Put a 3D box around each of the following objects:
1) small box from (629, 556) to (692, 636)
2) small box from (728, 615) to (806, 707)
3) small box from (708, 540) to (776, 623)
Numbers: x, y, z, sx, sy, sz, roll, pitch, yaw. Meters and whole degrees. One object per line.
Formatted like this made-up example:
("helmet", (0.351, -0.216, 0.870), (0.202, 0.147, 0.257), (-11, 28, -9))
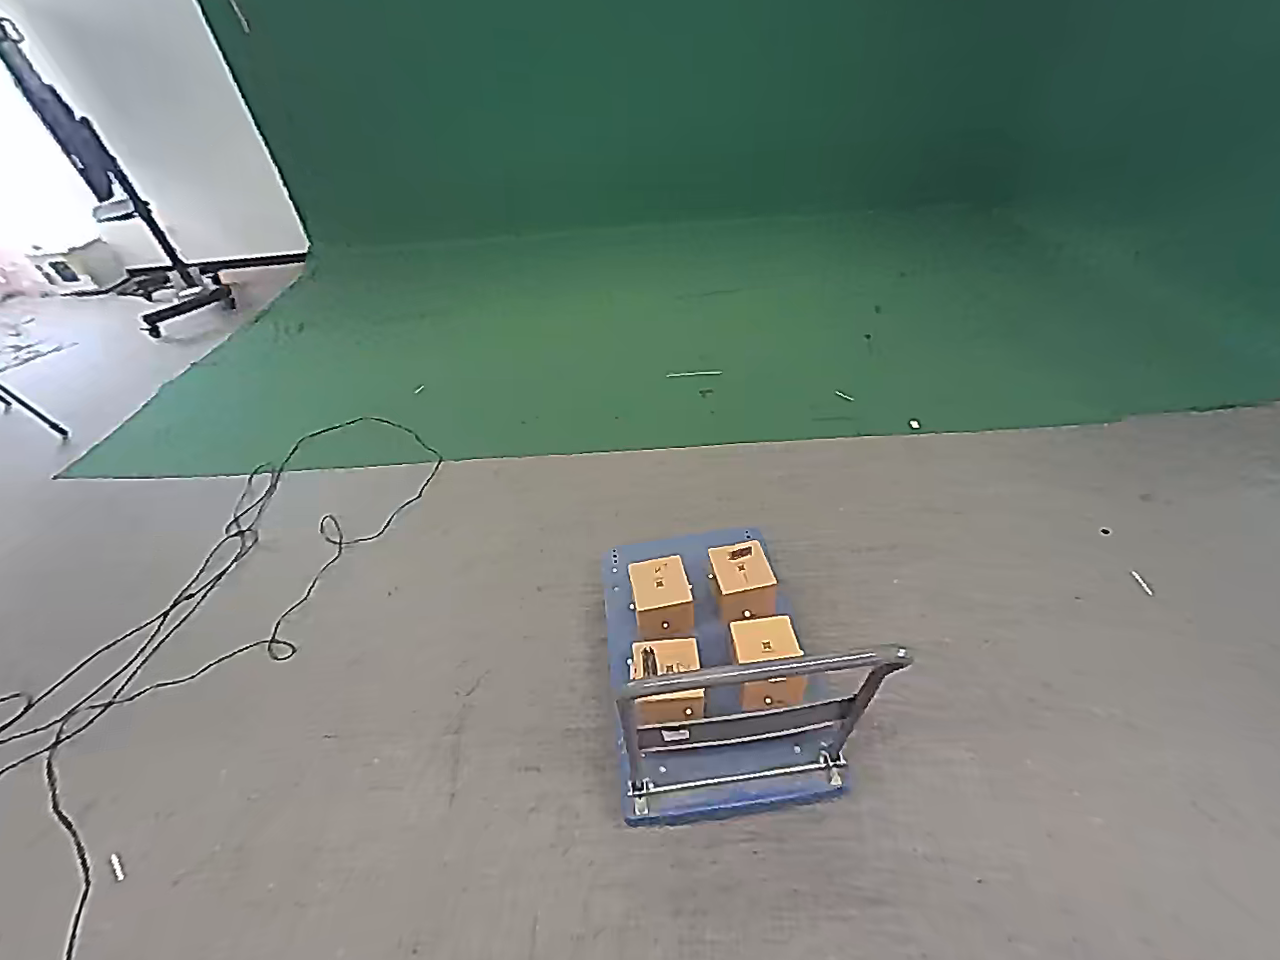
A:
("small box", (0.065, 0.366, 1.676), (0.168, 0.176, 0.179), (-10, 43, -5))
("small box", (0.343, 0.502, 1.498), (0.168, 0.176, 0.179), (-7, 43, -1))
("small box", (0.312, 0.319, 1.696), (0.168, 0.176, 0.179), (-11, 44, -4))
